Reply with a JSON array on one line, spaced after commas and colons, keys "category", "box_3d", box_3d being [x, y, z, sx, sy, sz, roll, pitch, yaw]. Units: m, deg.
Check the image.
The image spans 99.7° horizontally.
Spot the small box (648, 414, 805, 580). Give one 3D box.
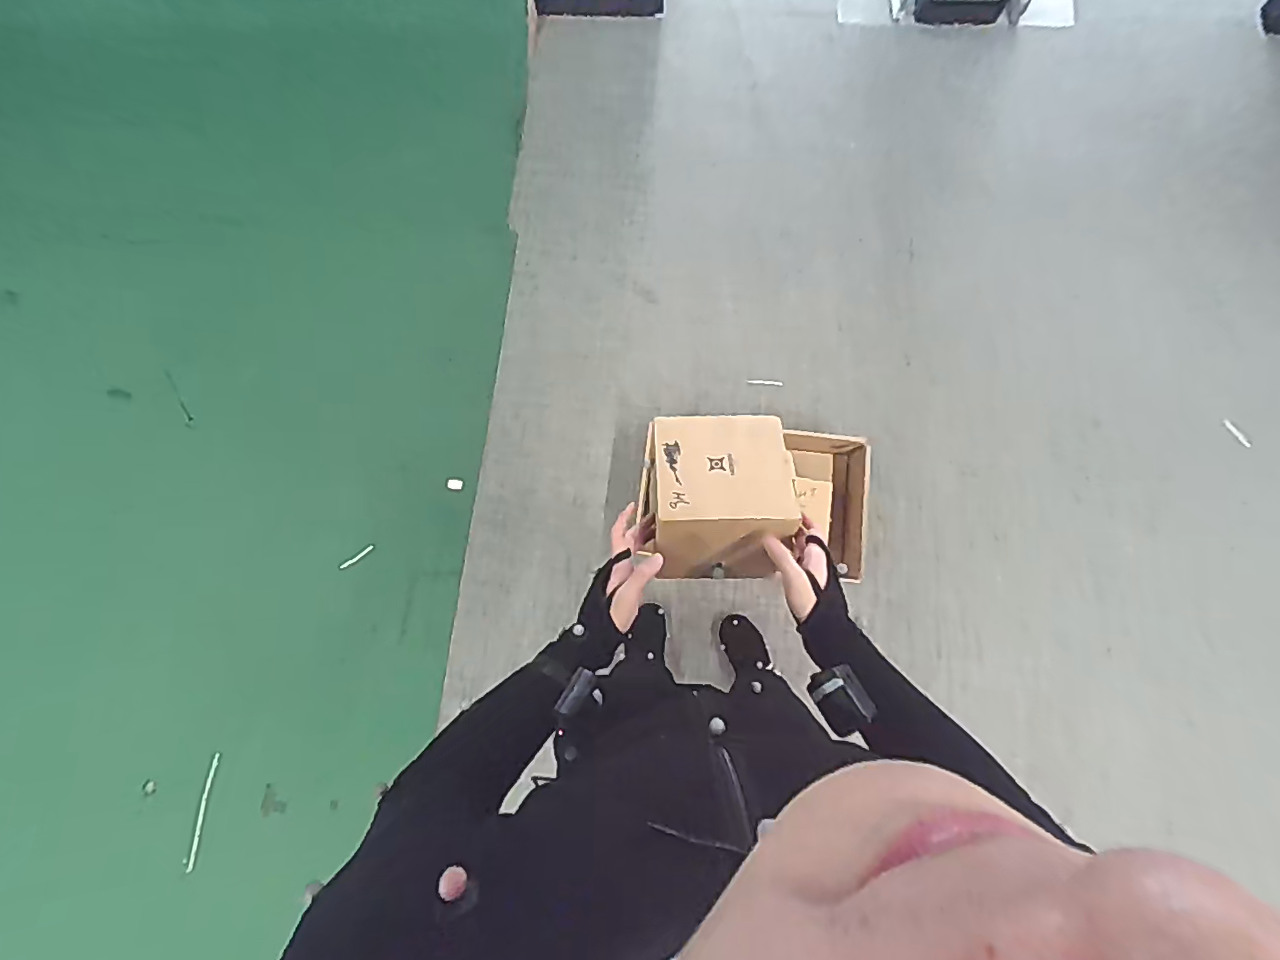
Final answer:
[{"category": "small box", "box_3d": [0.104, 0.028, 0.741, 0.179, 0.176, 0.168, 0, 54, -2]}]

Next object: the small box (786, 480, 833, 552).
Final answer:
[{"category": "small box", "box_3d": [0.422, 0.101, 1.500, 0.168, 0.176, 0.179, 8, 79, 4]}]
